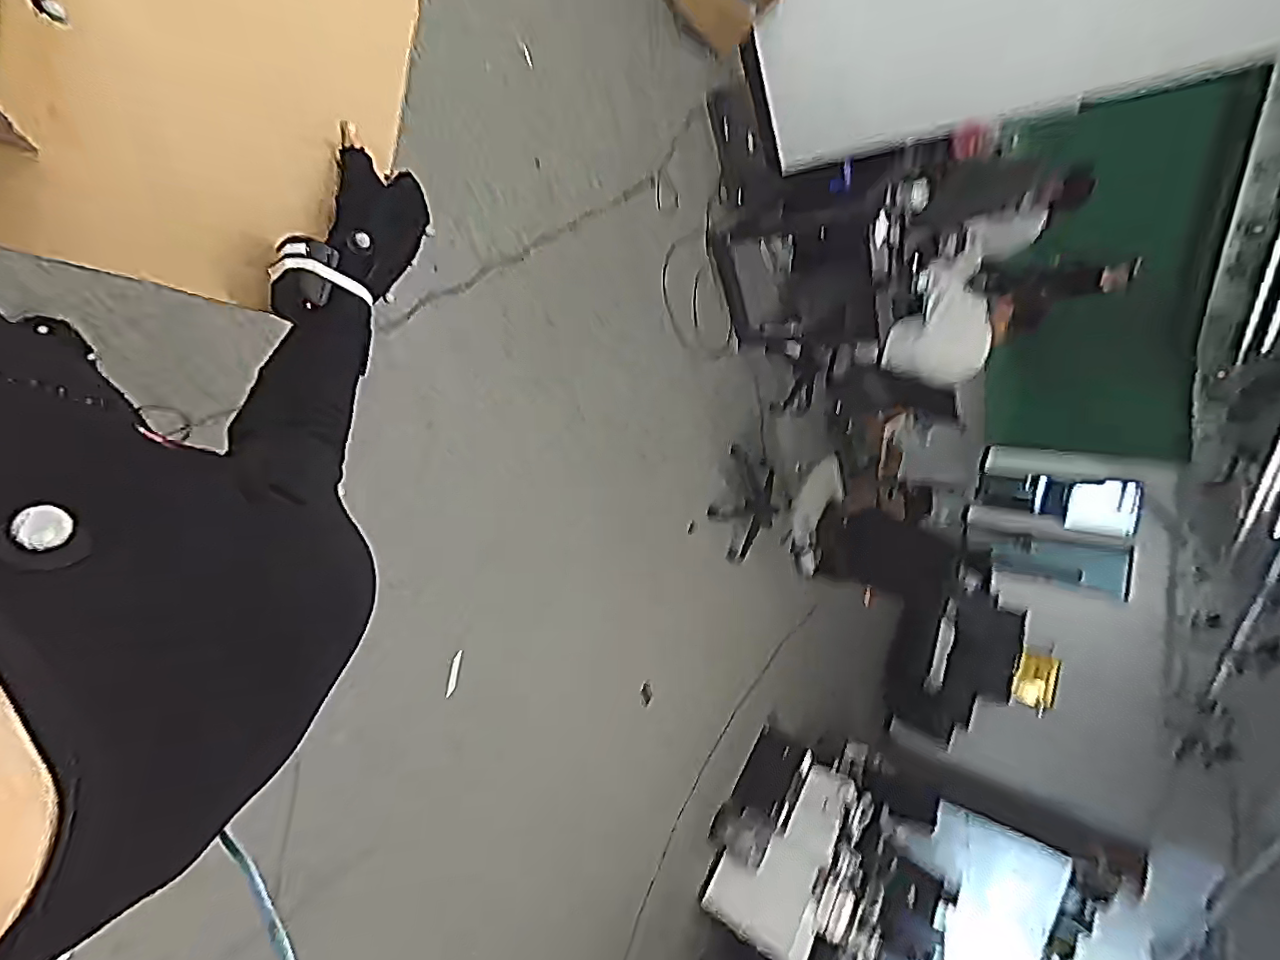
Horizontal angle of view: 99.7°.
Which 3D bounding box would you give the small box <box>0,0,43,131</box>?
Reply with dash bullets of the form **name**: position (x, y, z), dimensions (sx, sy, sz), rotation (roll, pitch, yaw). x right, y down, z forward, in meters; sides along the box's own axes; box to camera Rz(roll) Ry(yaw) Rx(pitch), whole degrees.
- **small box**: position (-0.433, -0.306, 0.269), dimensions (0.179, 0.176, 0.168), rotation (7, 101, -43)
